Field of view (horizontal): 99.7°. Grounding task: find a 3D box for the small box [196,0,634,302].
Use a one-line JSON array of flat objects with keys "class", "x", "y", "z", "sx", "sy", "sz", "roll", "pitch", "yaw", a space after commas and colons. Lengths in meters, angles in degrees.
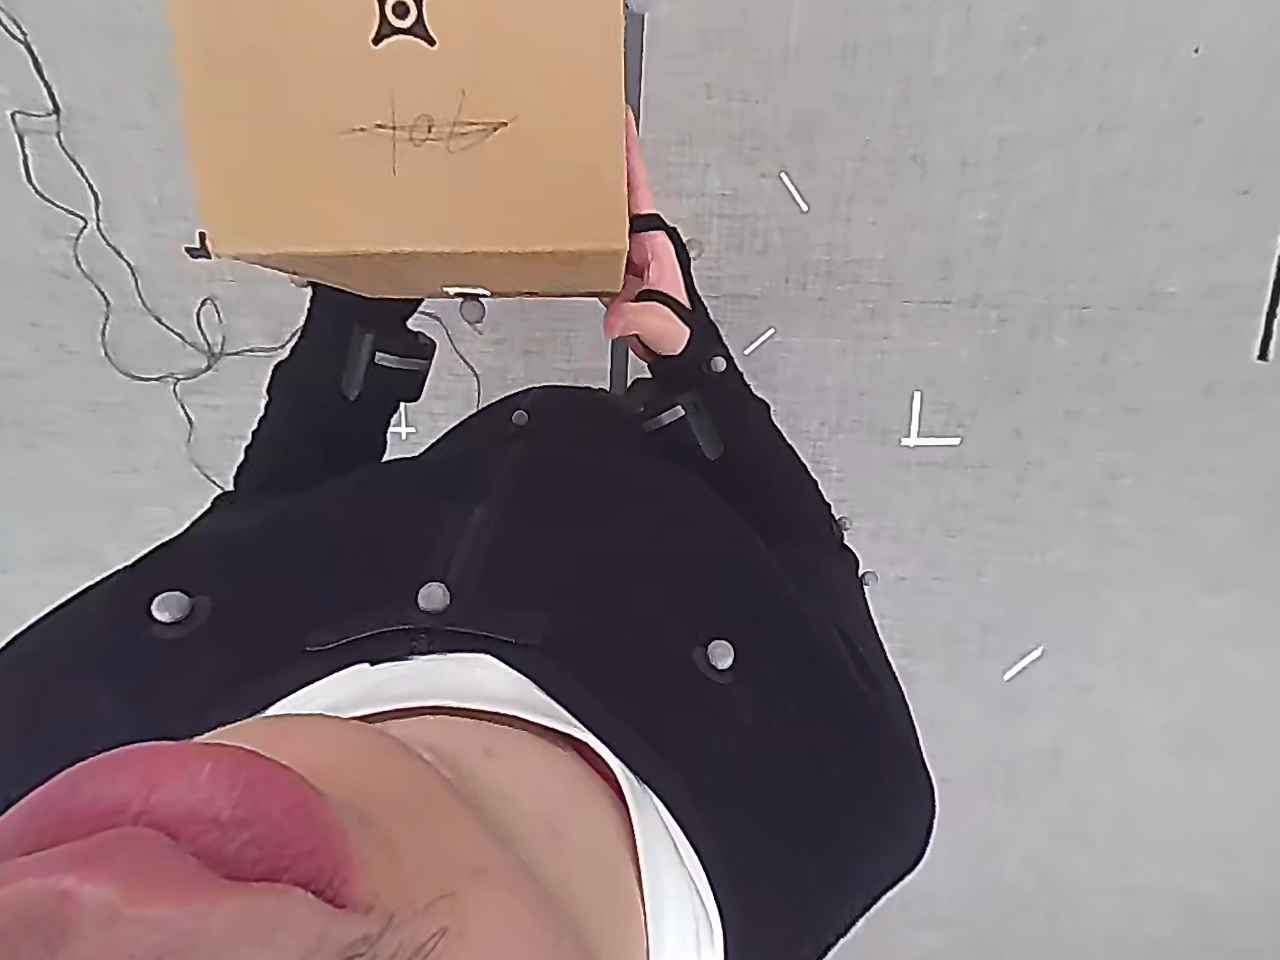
[{"class": "small box", "x": -0.091, "y": -0.197, "z": 0.288, "sx": 0.168, "sy": 0.176, "sz": 0.179, "roll": -2, "pitch": 103, "yaw": -2}]
